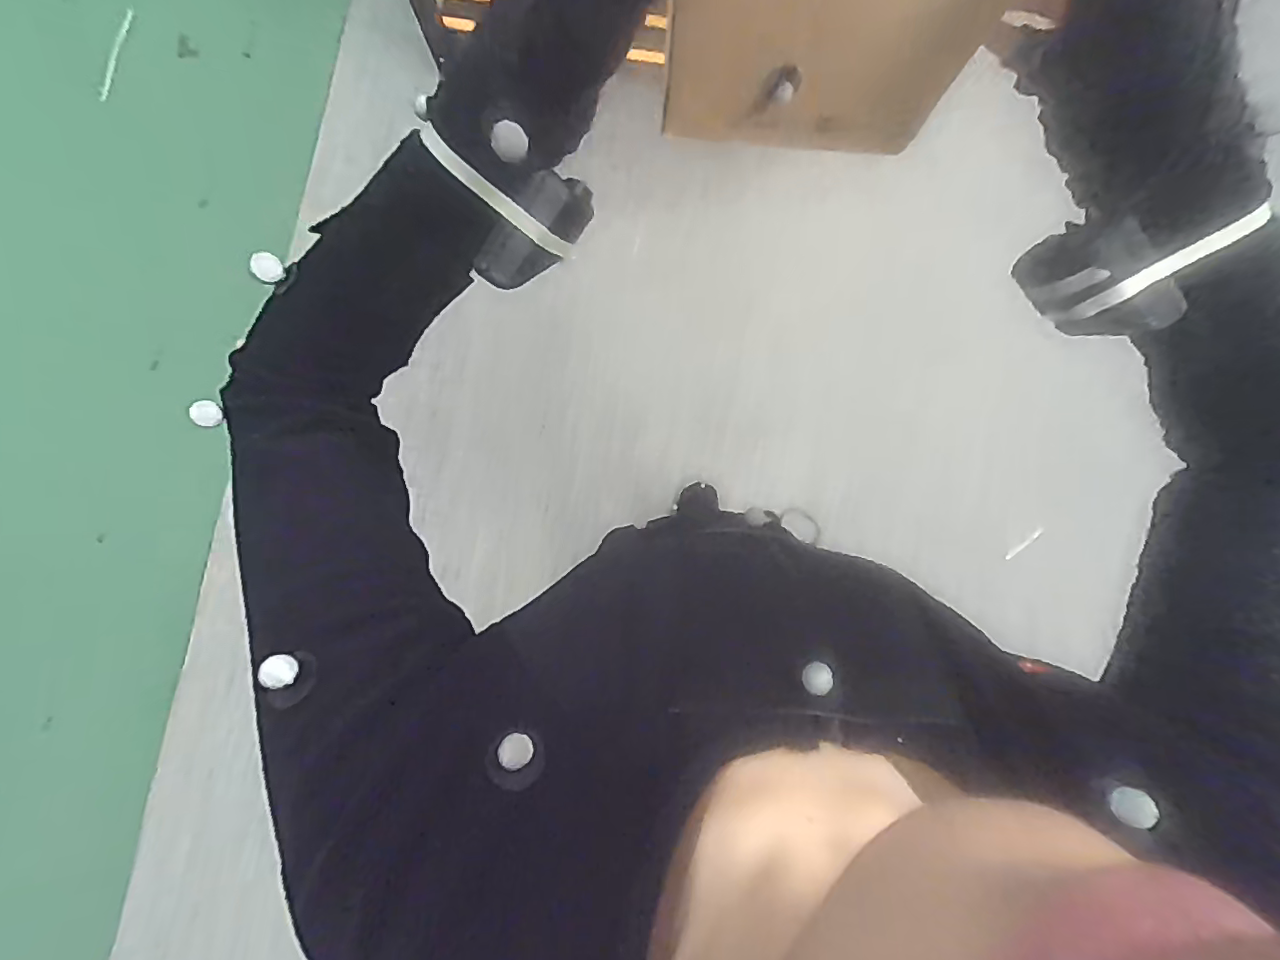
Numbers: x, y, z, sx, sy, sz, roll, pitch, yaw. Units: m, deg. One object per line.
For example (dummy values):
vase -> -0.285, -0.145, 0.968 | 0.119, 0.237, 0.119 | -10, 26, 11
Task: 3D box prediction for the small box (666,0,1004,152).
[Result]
small box -> 0.103, -0.323, 0.298 | 0.168, 0.176, 0.179 | 3, 86, 0
